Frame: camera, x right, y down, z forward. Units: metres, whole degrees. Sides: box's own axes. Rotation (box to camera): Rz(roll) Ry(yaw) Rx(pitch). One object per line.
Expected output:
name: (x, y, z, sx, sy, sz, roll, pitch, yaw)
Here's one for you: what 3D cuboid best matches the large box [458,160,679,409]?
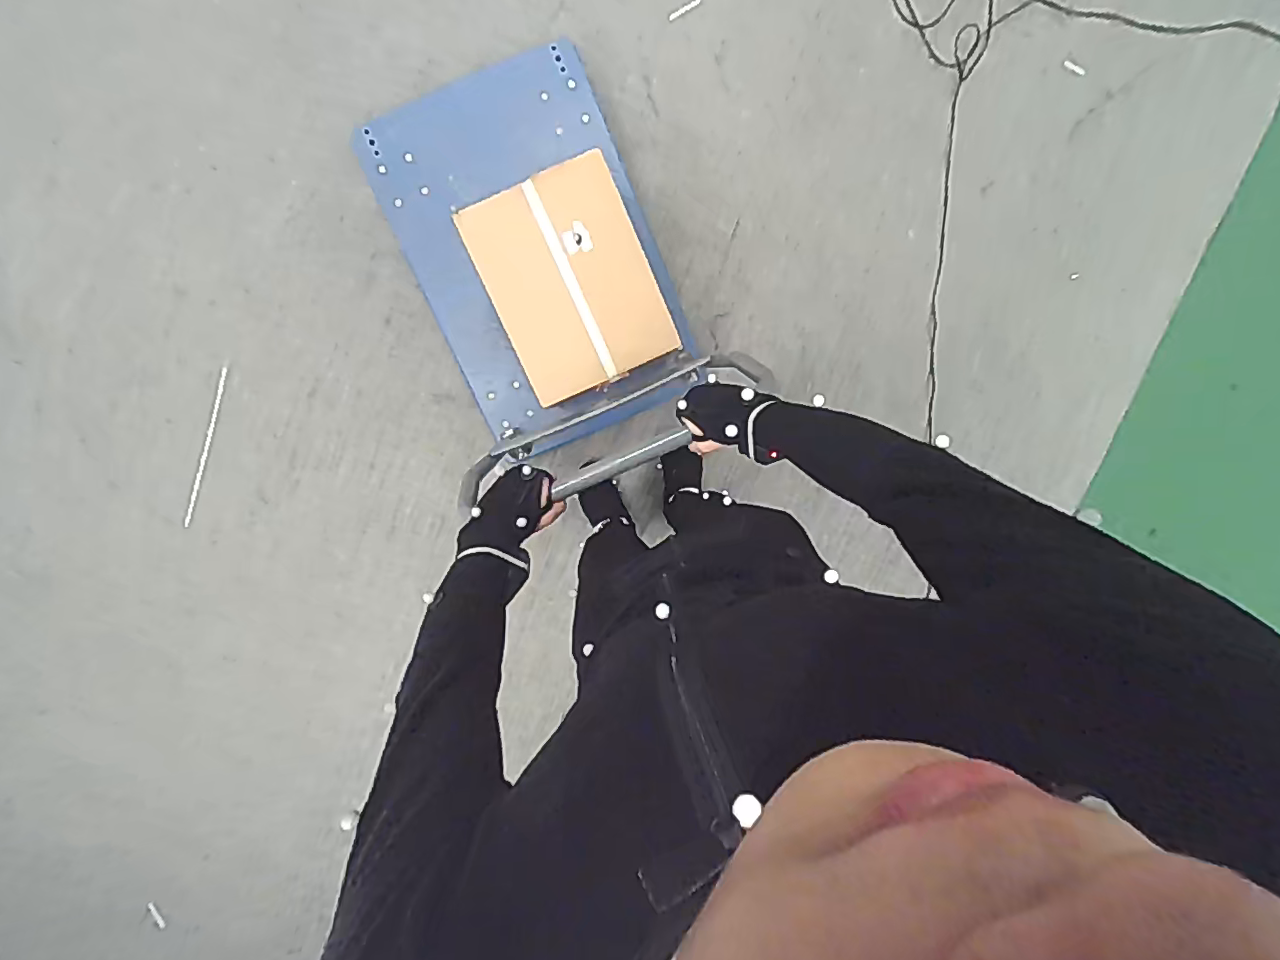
large box: (-0.144, -0.406, 1.229, 0.320, 0.320, 0.408, -24, 98, 0)
